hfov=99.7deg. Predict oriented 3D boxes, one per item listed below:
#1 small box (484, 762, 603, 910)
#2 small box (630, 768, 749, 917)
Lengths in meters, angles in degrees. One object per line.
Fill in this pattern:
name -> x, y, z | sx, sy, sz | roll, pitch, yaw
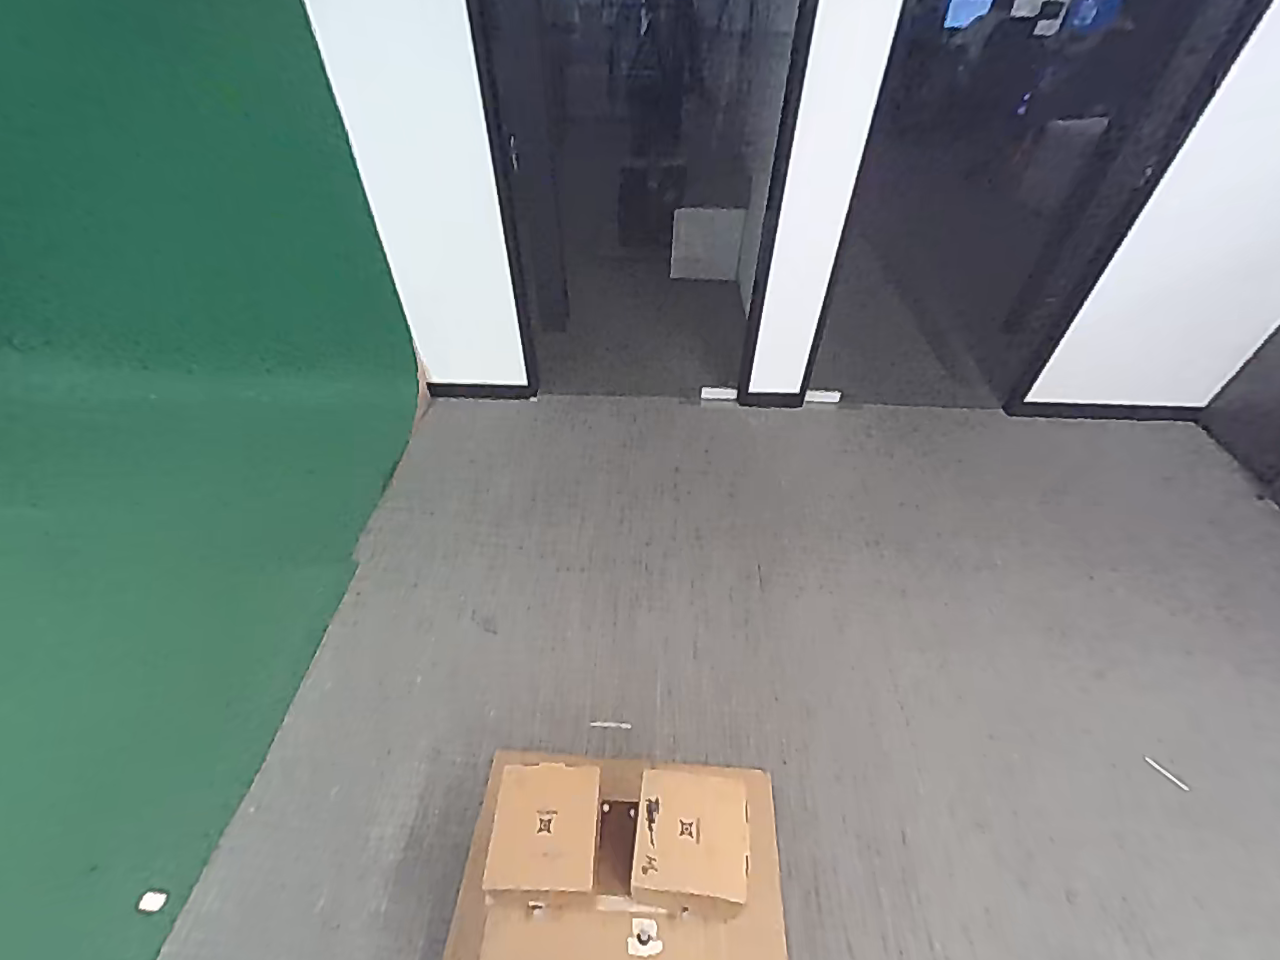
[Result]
small box -> -0.151, 0.599, 0.910 | 0.168, 0.176, 0.179 | 0, 44, 0
small box -> 0.081, 0.607, 0.903 | 0.179, 0.176, 0.168 | 5, 44, 5
